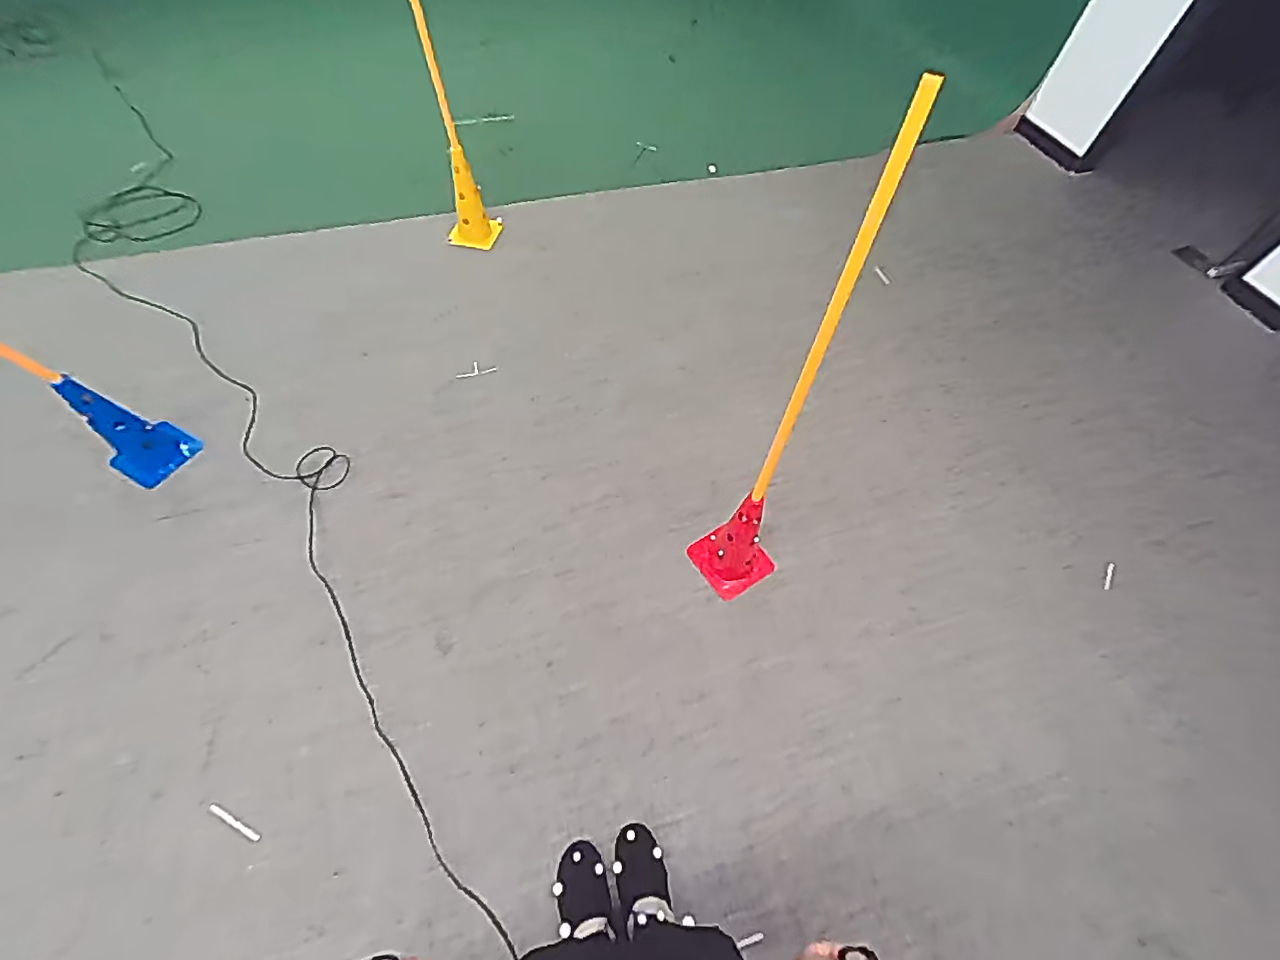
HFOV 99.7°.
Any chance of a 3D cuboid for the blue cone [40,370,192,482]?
[{"bbox_3d":[-1.511,-0.173,1.536,0.192,0.380,0.193,26,62,11],"label":"blue cone"}]
